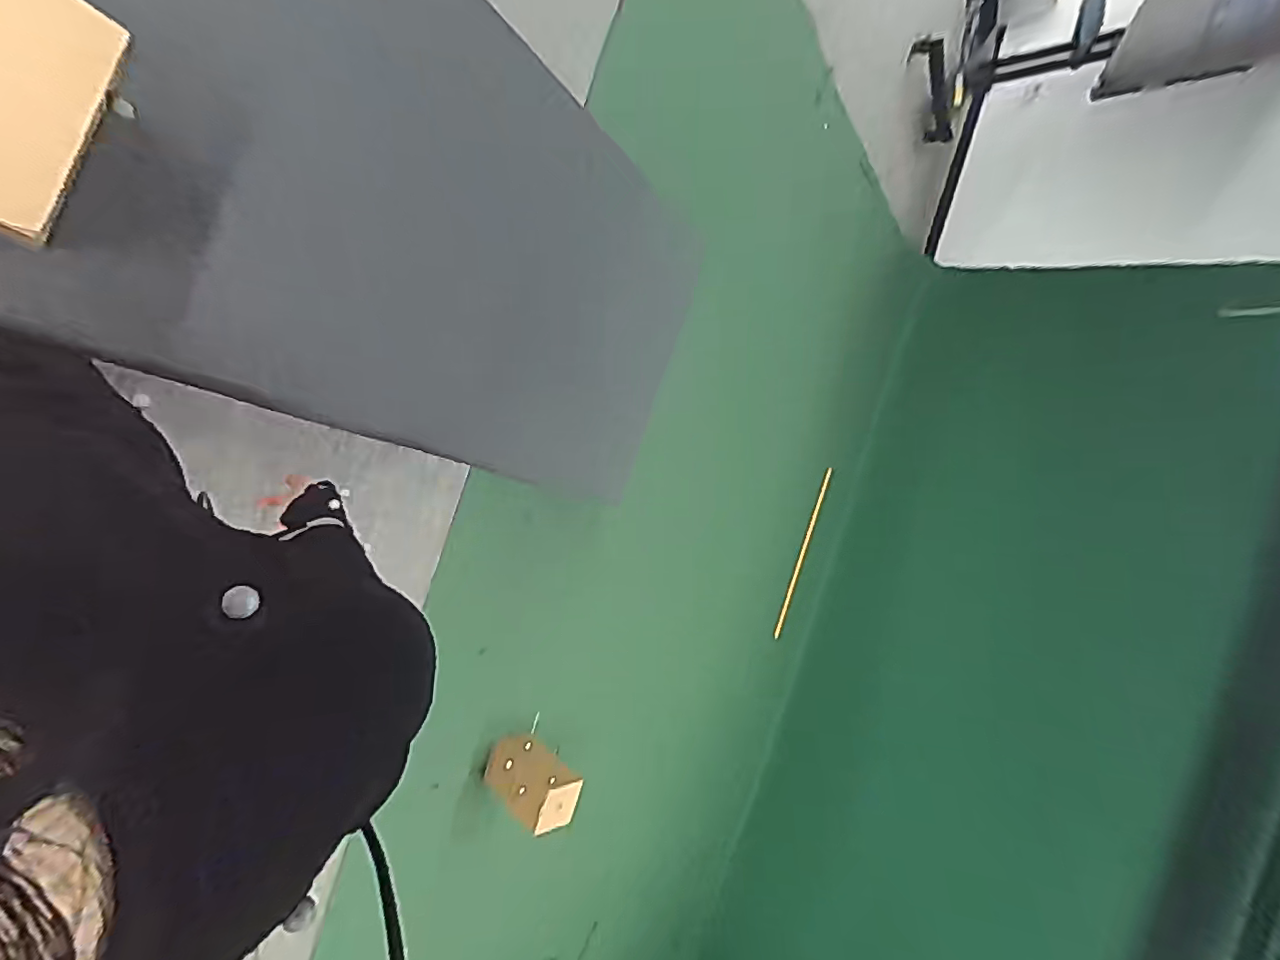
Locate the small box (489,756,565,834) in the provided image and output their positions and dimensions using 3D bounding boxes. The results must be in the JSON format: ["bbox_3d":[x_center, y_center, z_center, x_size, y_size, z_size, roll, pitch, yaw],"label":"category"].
[{"bbox_3d":[-0.410,1.131,1.960,0.179,0.176,0.168,19,89,-52],"label":"small box"}]

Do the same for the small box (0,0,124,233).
[{"bbox_3d":[-0.521,-0.304,0.386,0.168,0.176,0.179,25,84,-51],"label":"small box"}]
